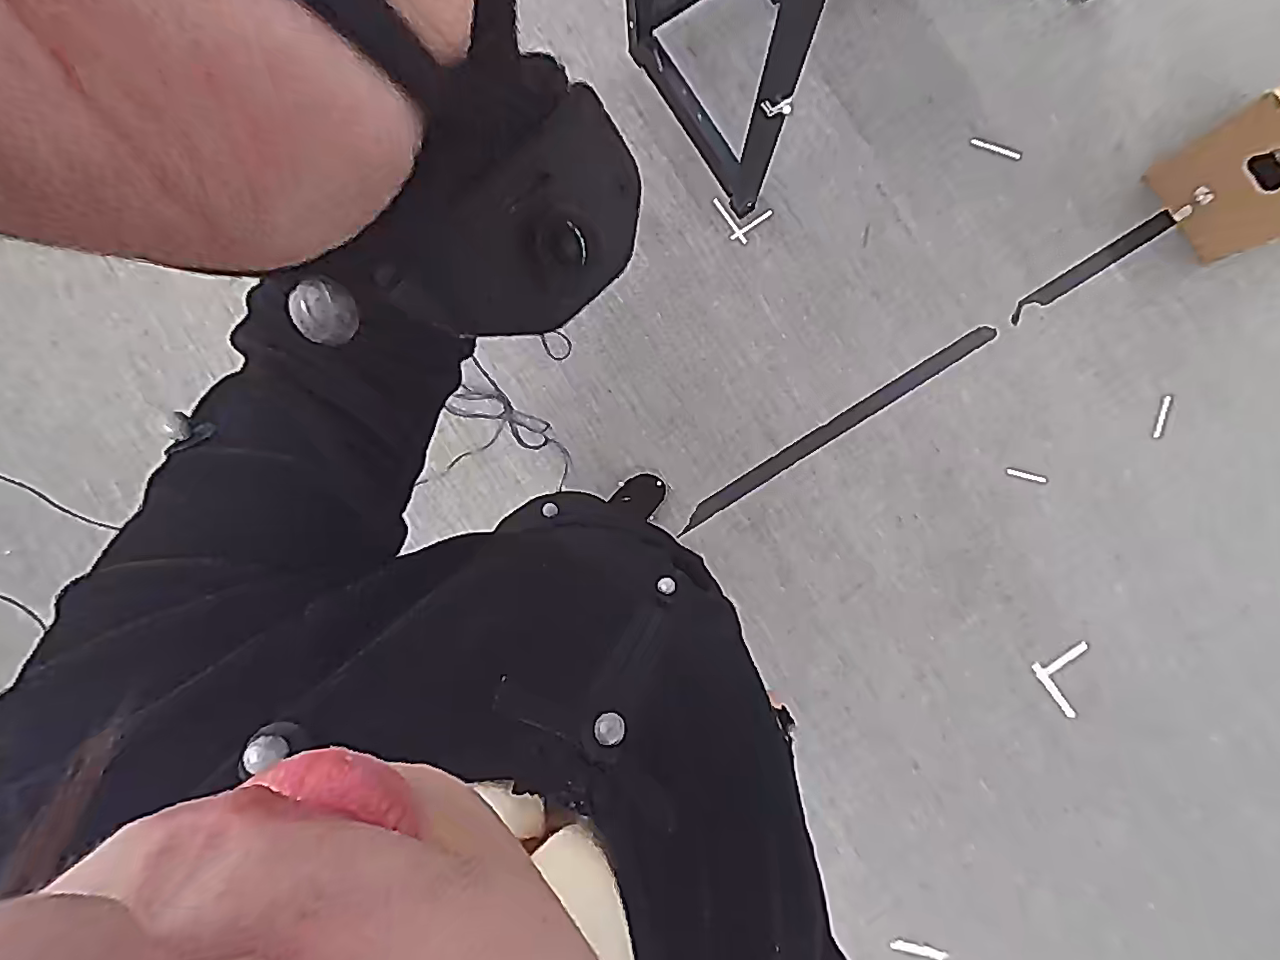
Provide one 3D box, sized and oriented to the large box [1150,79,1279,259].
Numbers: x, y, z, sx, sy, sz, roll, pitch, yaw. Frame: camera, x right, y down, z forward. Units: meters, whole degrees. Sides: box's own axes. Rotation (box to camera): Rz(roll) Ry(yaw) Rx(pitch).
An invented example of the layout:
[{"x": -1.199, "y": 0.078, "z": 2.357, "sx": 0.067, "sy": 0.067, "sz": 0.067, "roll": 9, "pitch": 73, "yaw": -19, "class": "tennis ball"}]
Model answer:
[{"x": 1.614, "y": -0.823, "z": 1.310, "sx": 0.408, "sy": 0.320, "sz": 0.320, "roll": -31, "pitch": 89, "yaw": 1, "class": "large box"}]
